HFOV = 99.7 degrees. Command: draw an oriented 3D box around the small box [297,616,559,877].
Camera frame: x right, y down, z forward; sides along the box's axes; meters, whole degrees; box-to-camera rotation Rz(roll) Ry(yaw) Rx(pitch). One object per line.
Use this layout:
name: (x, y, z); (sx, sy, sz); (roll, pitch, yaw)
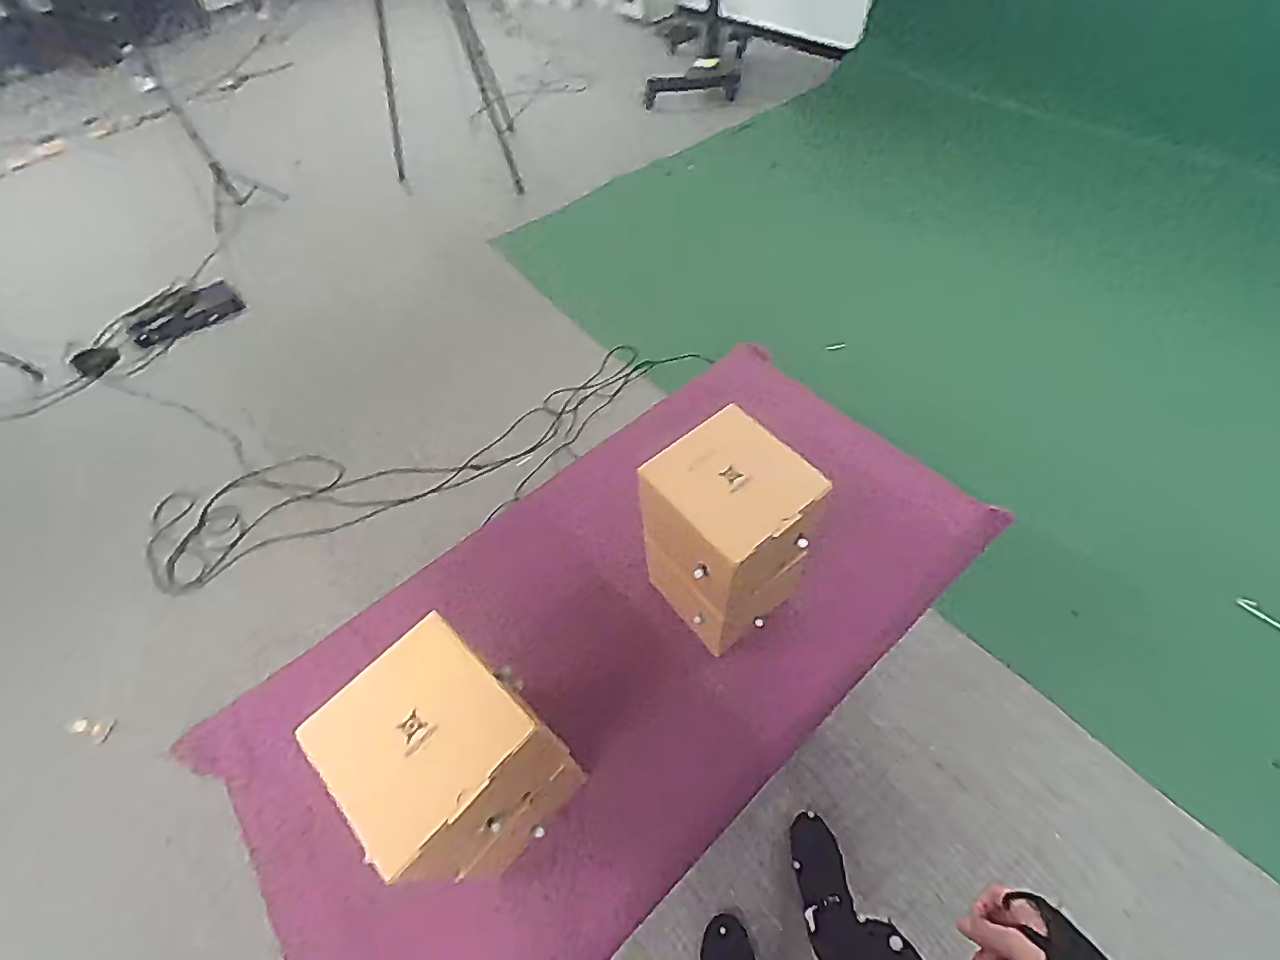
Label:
small box: (-0.212, 0.287, 0.582); (0.179, 0.176, 0.168); (36, 64, 26)

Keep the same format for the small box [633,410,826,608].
small box: (0.112, 0.048, 0.720); (0.168, 0.176, 0.179); (-34, 59, -18)

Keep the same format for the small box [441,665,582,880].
small box: (-0.200, 0.385, 0.711); (0.168, 0.176, 0.179); (-41, 61, -21)
